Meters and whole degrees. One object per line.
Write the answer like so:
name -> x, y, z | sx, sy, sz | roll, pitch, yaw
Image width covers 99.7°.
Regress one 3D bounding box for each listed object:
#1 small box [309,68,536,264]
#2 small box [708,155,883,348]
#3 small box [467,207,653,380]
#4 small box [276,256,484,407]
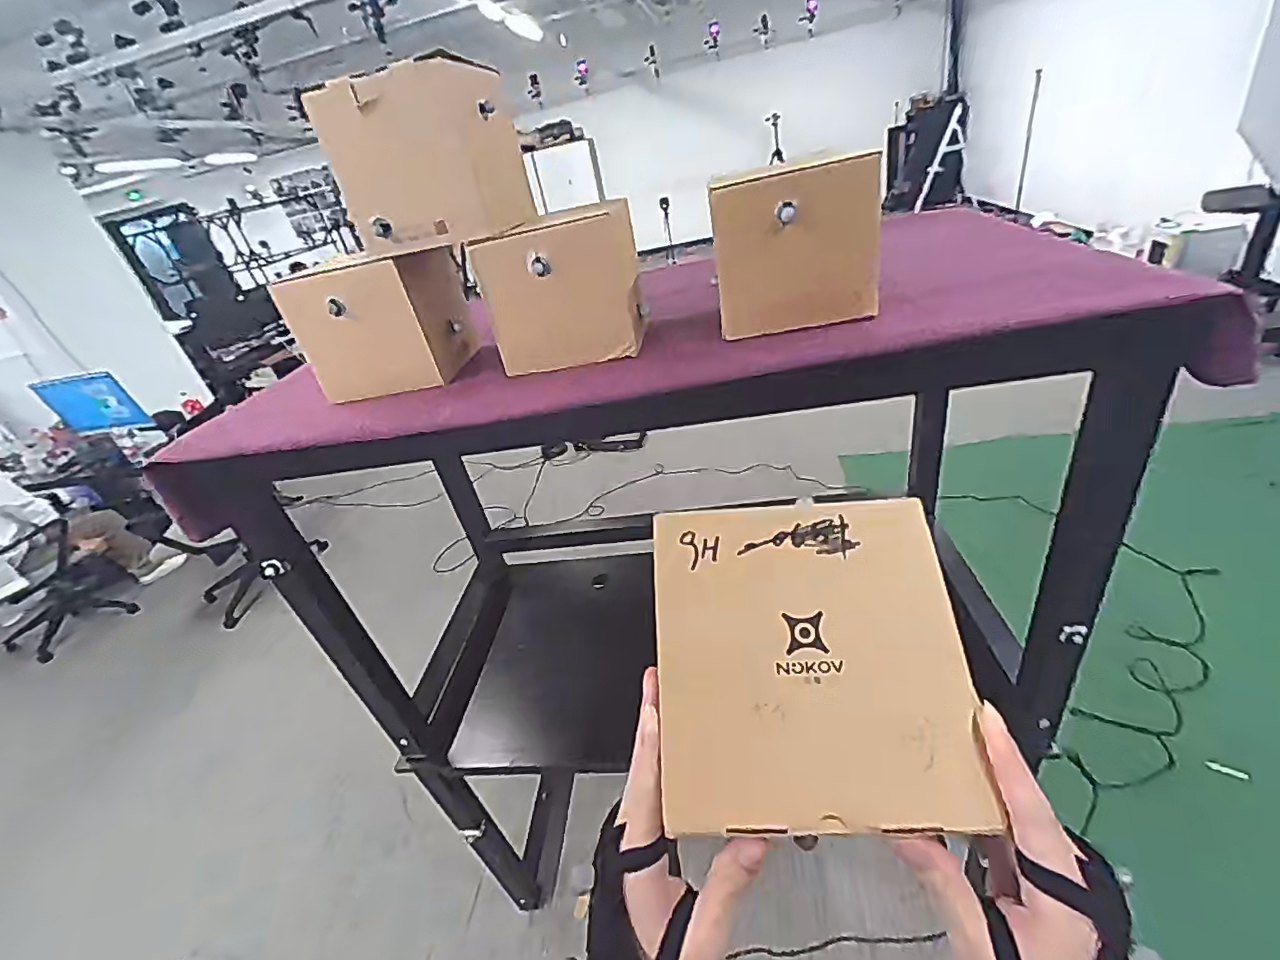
small box -> -0.243, -0.371, 0.659 | 0.168, 0.176, 0.179 | -5, 31, 12
small box -> 0.182, -0.276, 0.656 | 0.179, 0.176, 0.168 | -8, 31, 12
small box -> -0.090, -0.241, 0.707 | 0.179, 0.176, 0.168 | -6, 32, 11
small box -> -0.350, -0.216, 0.767 | 0.179, 0.176, 0.168 | -8, 32, 10
